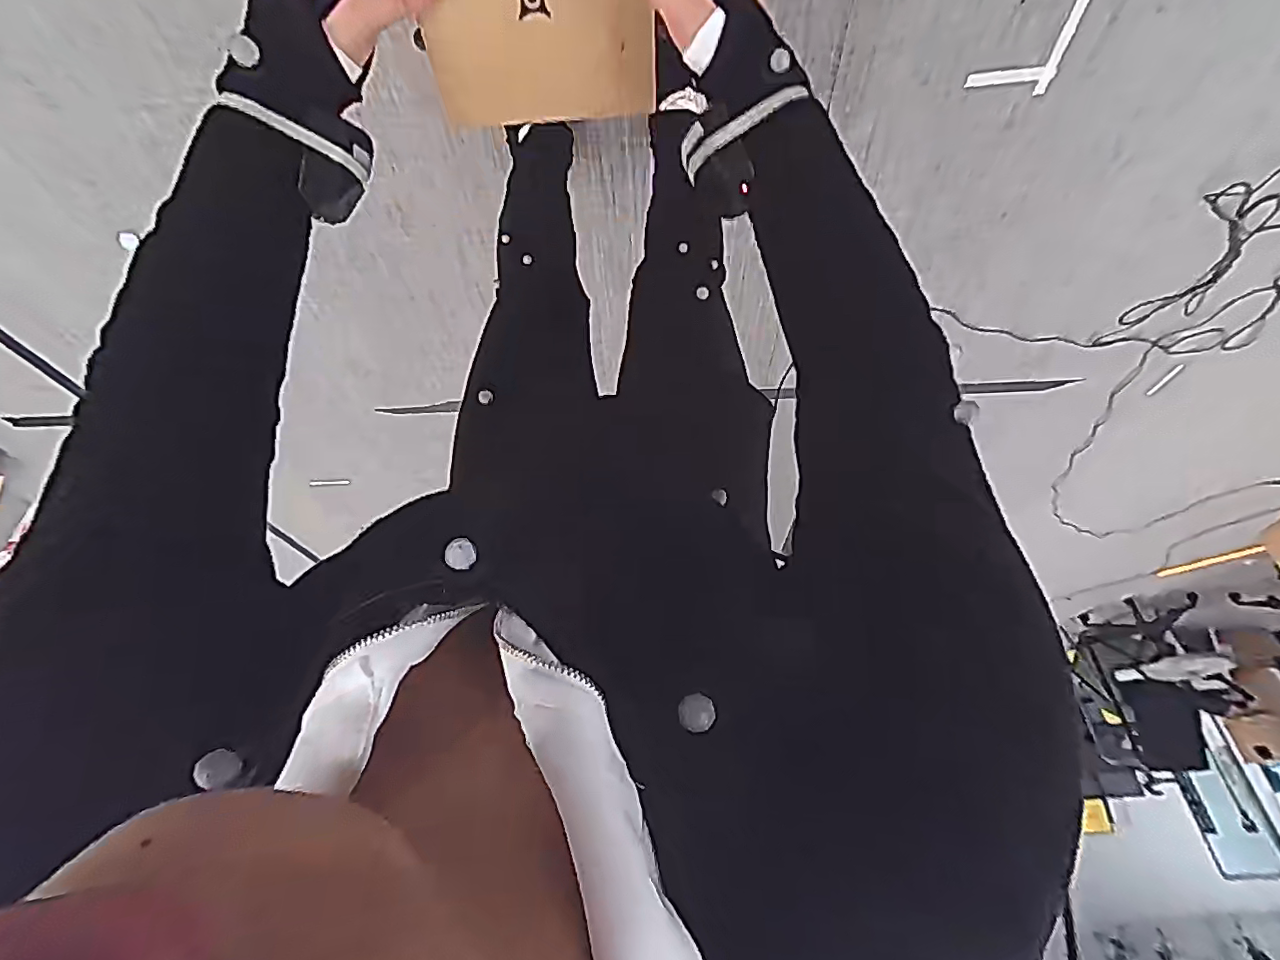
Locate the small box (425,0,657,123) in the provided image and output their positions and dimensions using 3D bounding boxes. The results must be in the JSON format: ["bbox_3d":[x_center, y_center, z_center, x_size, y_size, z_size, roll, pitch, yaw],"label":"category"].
[{"bbox_3d":[-0.075,-0.412,0.409,0.168,0.176,0.179,-6,151,0],"label":"small box"}]
